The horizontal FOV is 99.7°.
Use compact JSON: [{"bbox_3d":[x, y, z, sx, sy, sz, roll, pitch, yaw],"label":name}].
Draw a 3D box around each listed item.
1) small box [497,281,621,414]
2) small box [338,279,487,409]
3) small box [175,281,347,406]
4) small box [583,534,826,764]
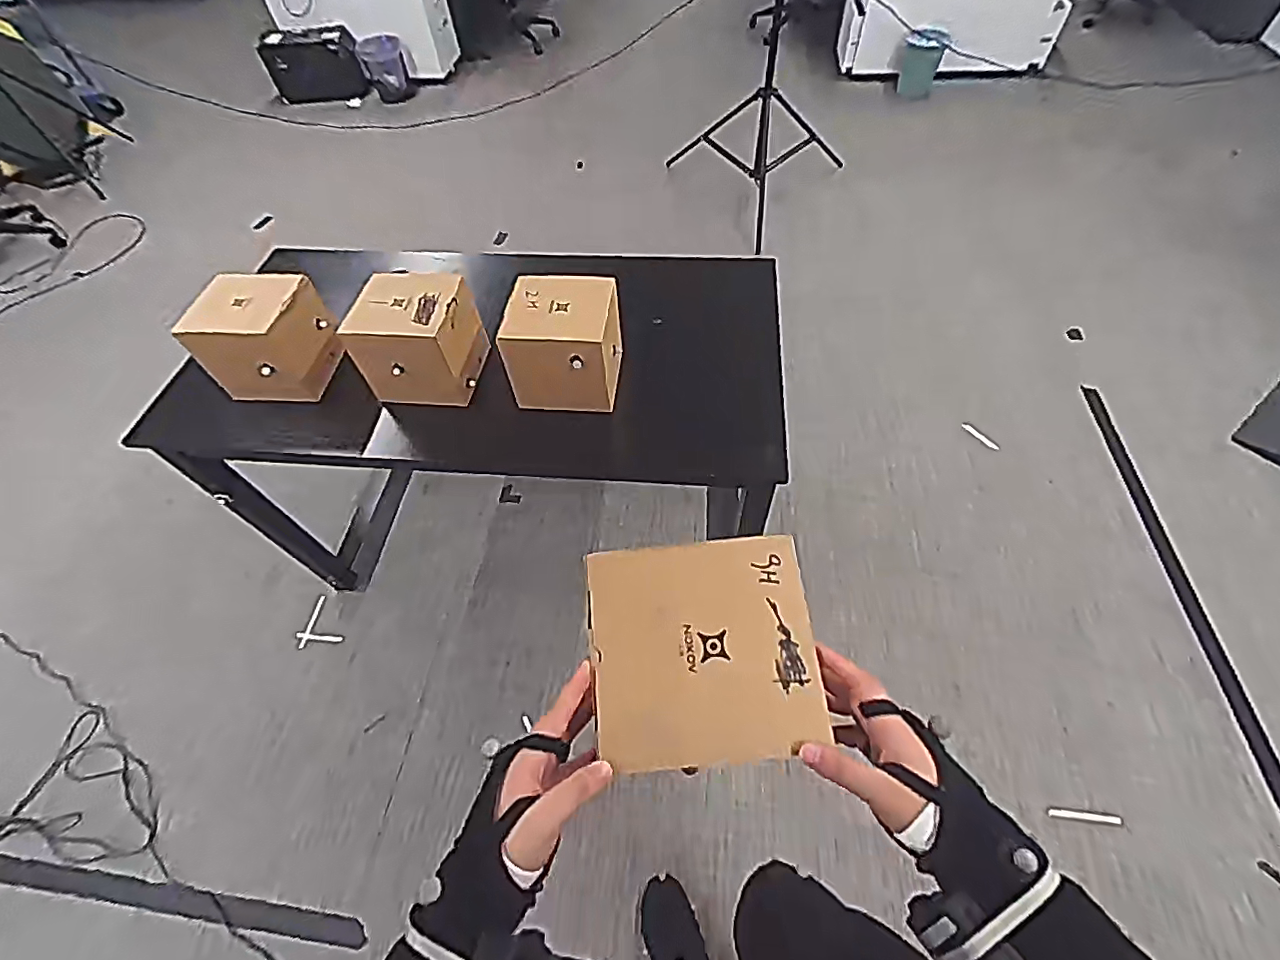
[{"bbox_3d":[-0.132,-0.232,0.968,0.179,0.176,0.168,3,55,6],"label":"small box"},{"bbox_3d":[-0.401,-0.246,0.996,0.179,0.176,0.168,3,56,7],"label":"small box"},{"bbox_3d":[-0.695,-0.254,1.021,0.179,0.176,0.168,1,55,5],"label":"small box"},{"bbox_3d":[0.047,0.158,0.498,0.179,0.176,0.168,-5,68,-1],"label":"small box"}]
